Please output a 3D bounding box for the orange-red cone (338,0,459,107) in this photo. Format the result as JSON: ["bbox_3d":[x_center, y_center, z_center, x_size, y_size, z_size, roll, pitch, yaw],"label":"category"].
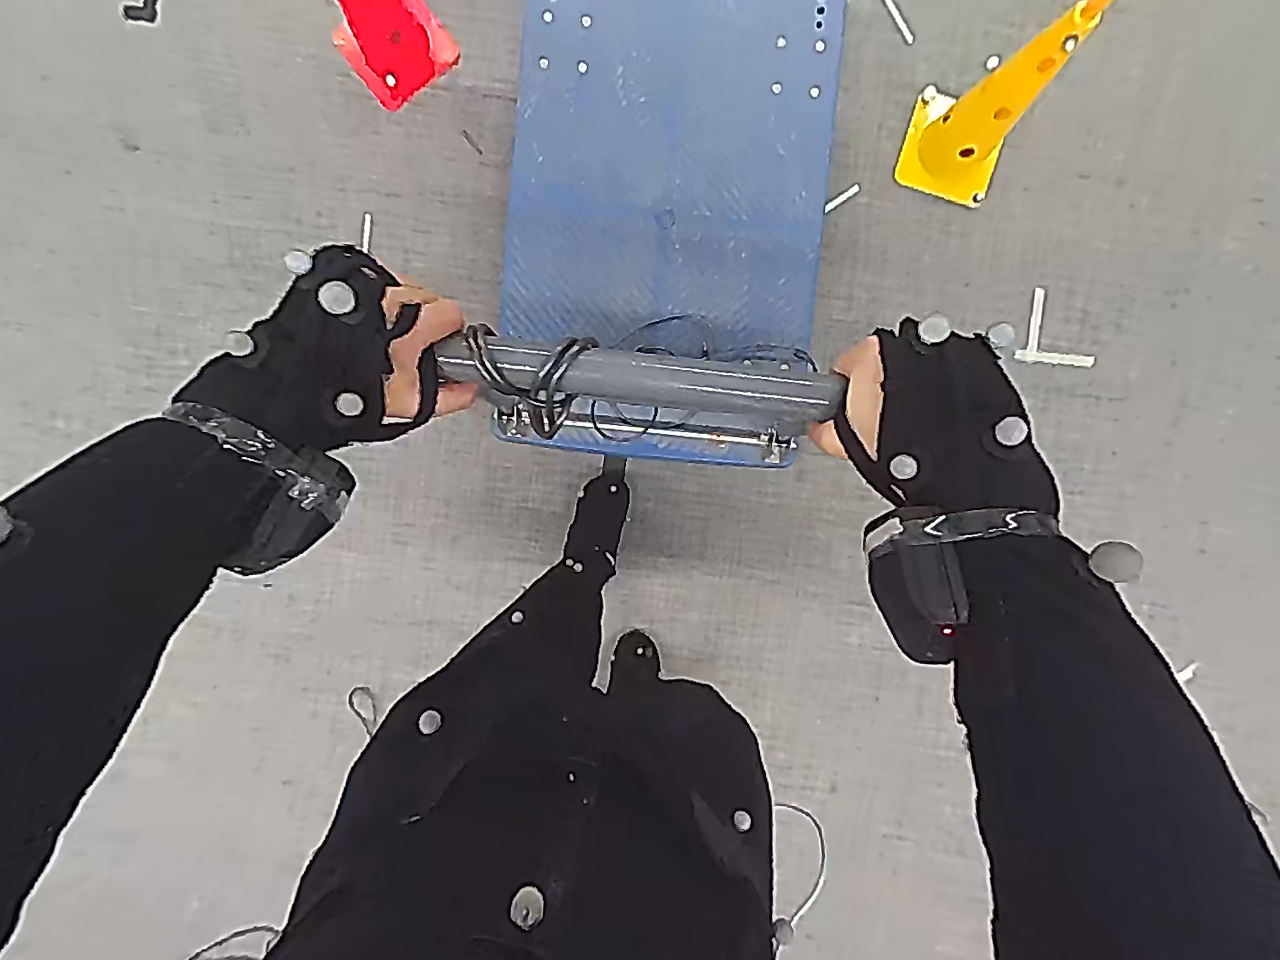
[{"bbox_3d":[-0.500,-0.902,0.959,0.199,0.360,0.198,-36,93,0],"label":"orange-red cone"}]
